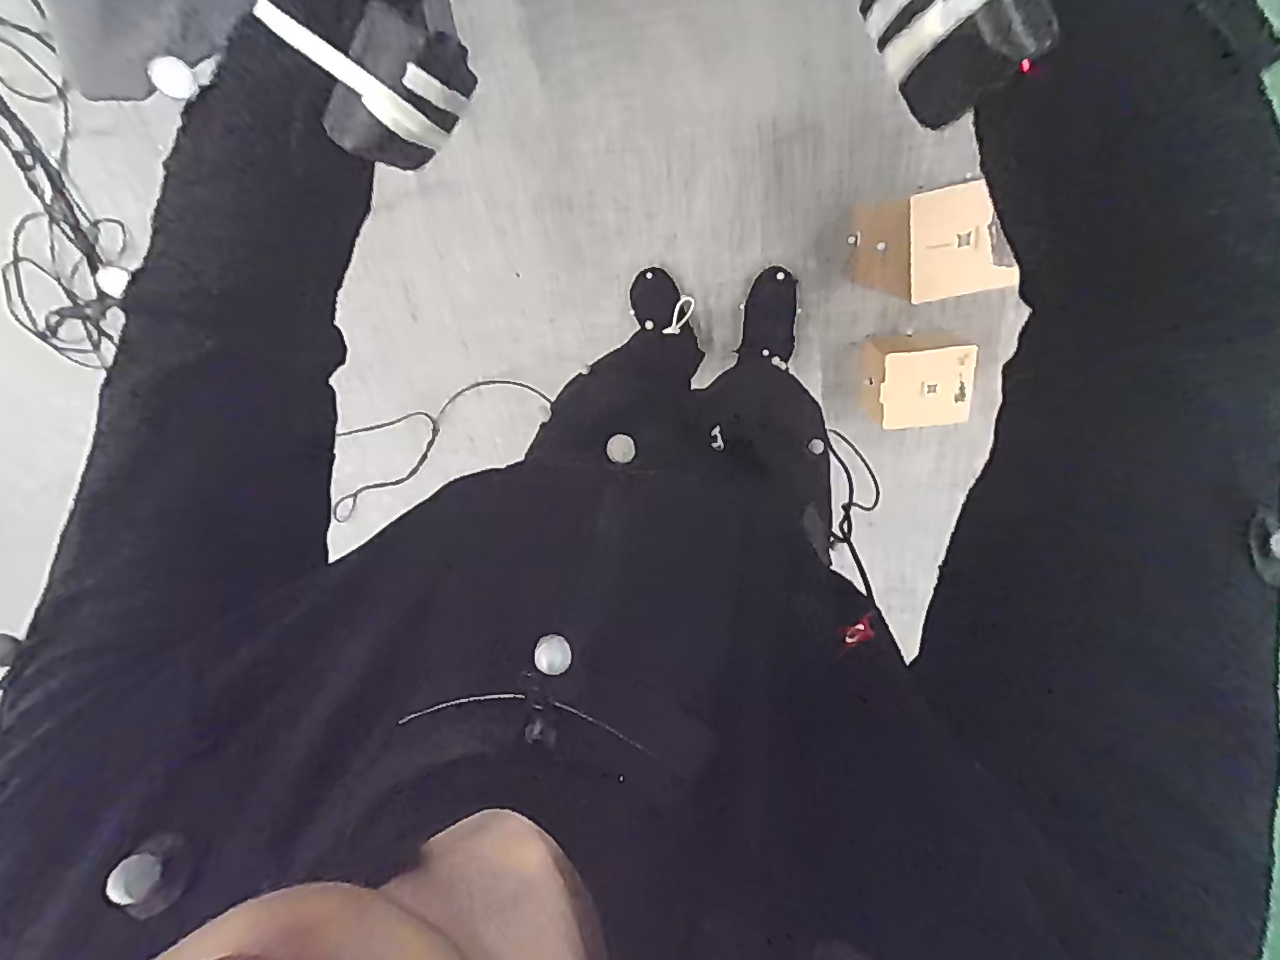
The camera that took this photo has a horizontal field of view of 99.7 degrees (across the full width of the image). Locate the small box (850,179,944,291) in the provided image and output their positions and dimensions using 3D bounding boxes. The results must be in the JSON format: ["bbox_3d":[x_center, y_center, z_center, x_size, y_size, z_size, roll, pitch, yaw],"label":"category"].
[{"bbox_3d":[0.523,-0.478,1.051,0.179,0.176,0.168,-9,114,11],"label":"small box"}]

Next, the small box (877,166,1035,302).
[{"bbox_3d":[0.514,-0.409,0.902,0.179,0.176,0.168,-9,114,11],"label":"small box"}]

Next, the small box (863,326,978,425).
[{"bbox_3d":[0.593,-0.227,1.168,0.179,0.176,0.168,-4,117,10],"label":"small box"}]
